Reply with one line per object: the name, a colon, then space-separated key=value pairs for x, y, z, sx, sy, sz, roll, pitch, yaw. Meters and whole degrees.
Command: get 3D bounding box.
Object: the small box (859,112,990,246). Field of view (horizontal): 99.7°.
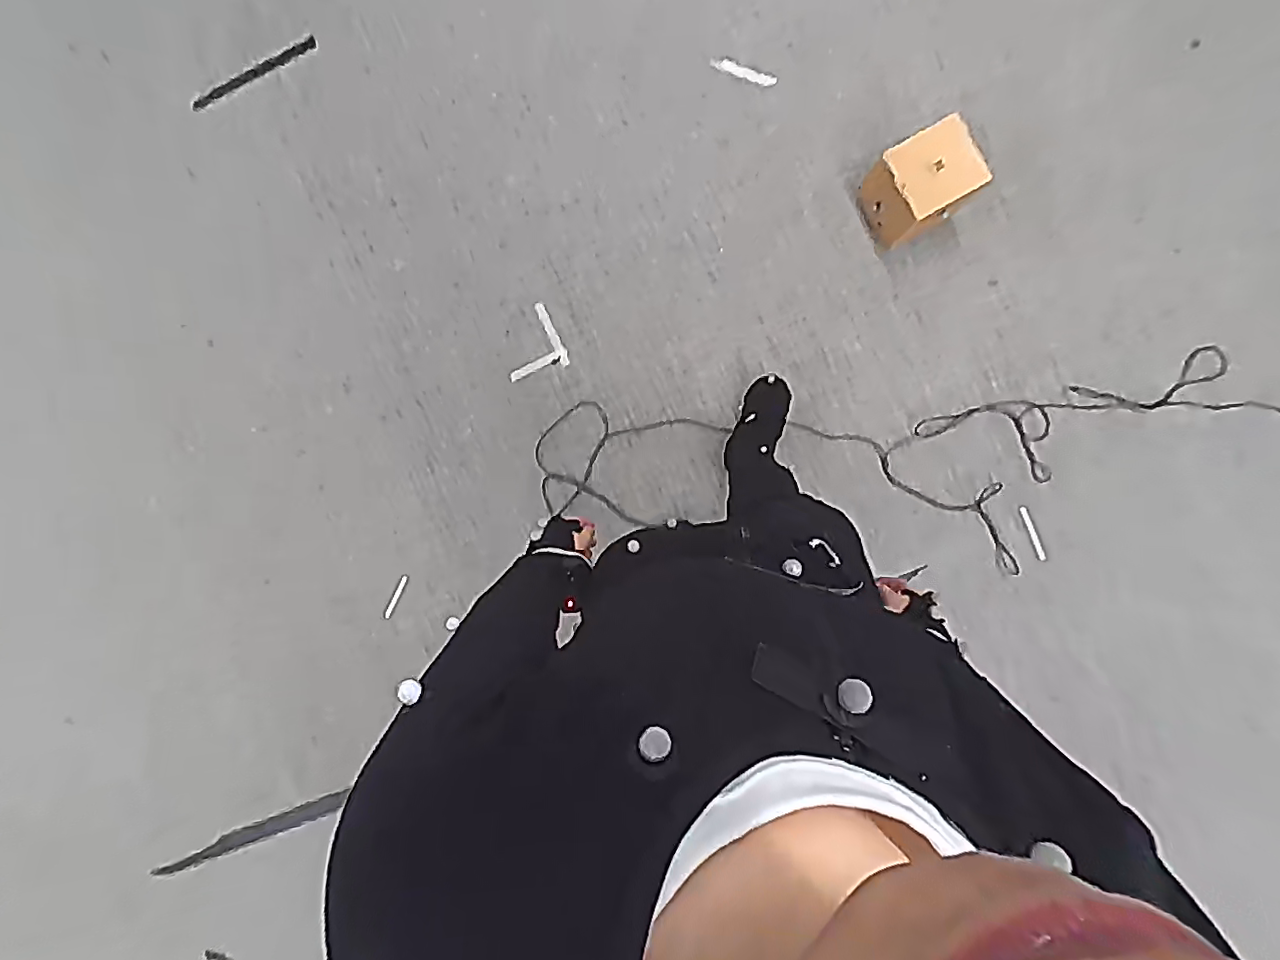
small box: x=0.633 y=-0.670 z=1.225 sx=0.179 sy=0.176 sz=0.168 roll=-29 pitch=90 yaw=4
